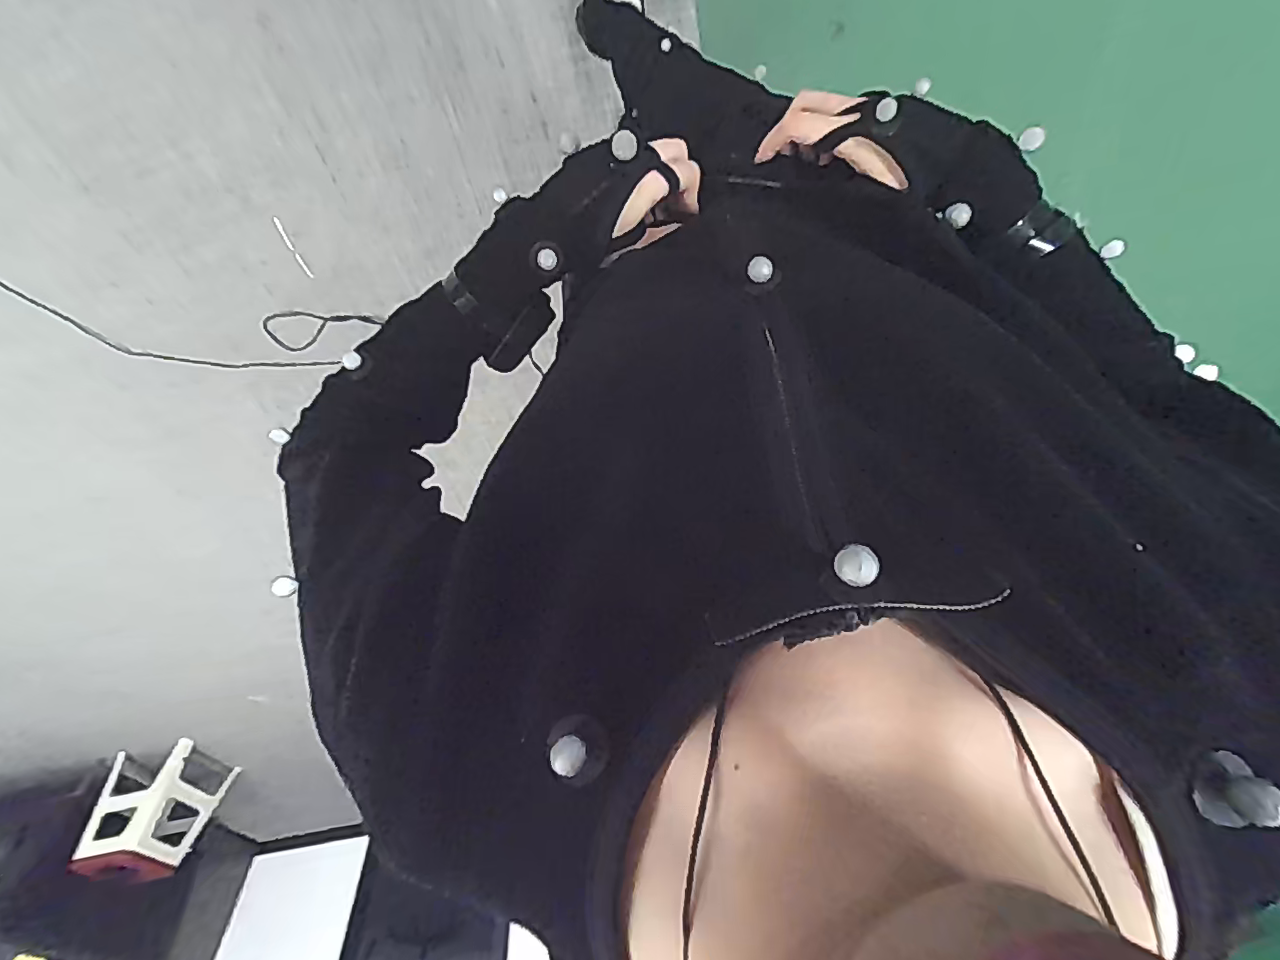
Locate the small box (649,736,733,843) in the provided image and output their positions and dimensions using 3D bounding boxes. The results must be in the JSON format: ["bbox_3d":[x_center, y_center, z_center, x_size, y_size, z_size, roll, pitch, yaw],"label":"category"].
[{"bbox_3d":[0.121,0.754,1.322,0.179,0.176,0.168,-11,131,2],"label":"small box"}]
